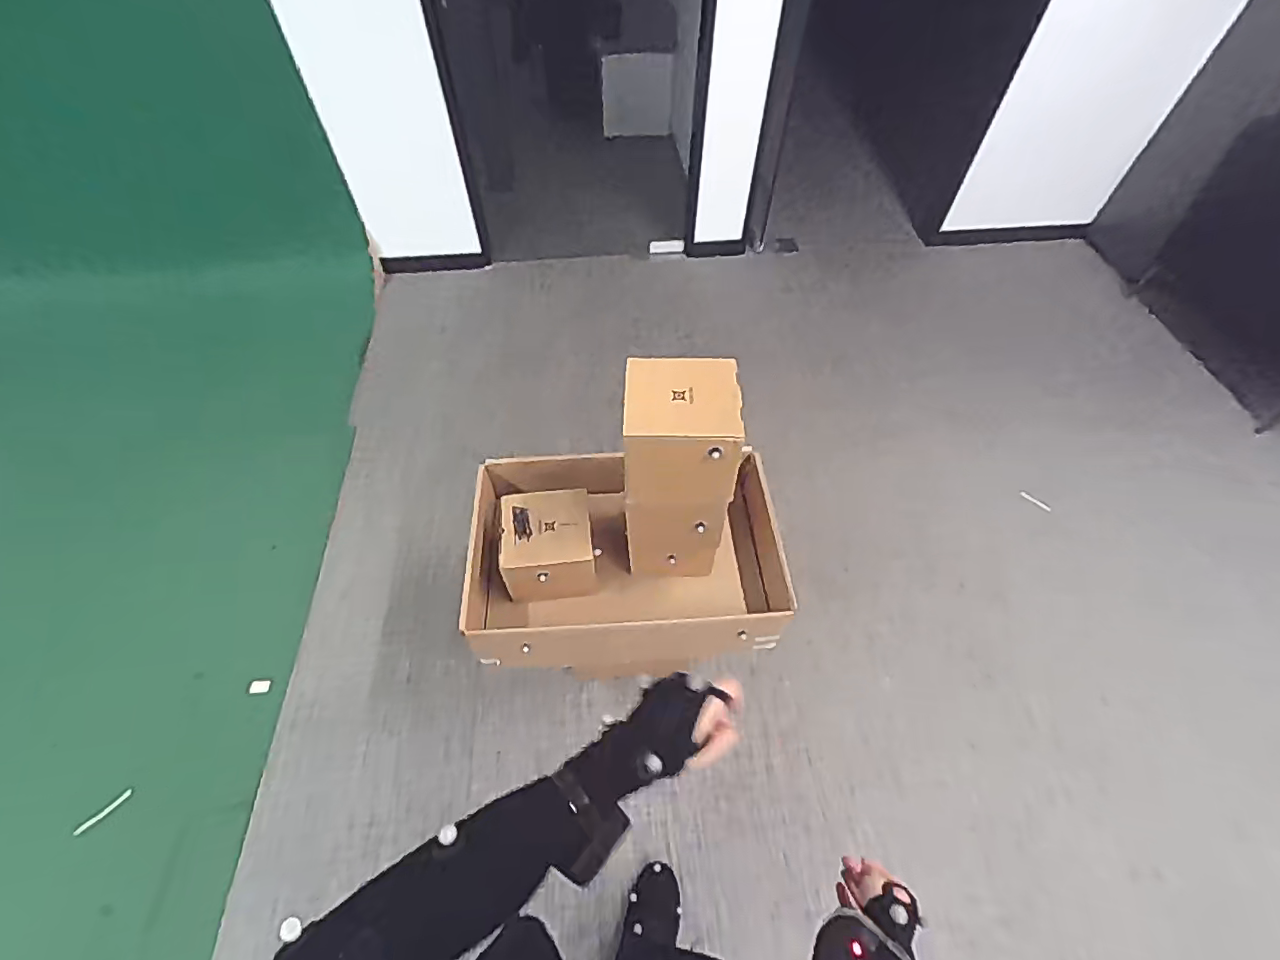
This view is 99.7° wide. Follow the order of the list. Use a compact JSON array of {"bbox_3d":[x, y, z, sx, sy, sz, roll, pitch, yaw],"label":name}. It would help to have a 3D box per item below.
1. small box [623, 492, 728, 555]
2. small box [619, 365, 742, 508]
[{"bbox_3d":[0.060,0.030,0.999,0.179,0.176,0.168,-1,54,1],"label":"small box"},{"bbox_3d":[0.061,-0.066,0.868,0.179,0.176,0.168,1,54,1],"label":"small box"}]
